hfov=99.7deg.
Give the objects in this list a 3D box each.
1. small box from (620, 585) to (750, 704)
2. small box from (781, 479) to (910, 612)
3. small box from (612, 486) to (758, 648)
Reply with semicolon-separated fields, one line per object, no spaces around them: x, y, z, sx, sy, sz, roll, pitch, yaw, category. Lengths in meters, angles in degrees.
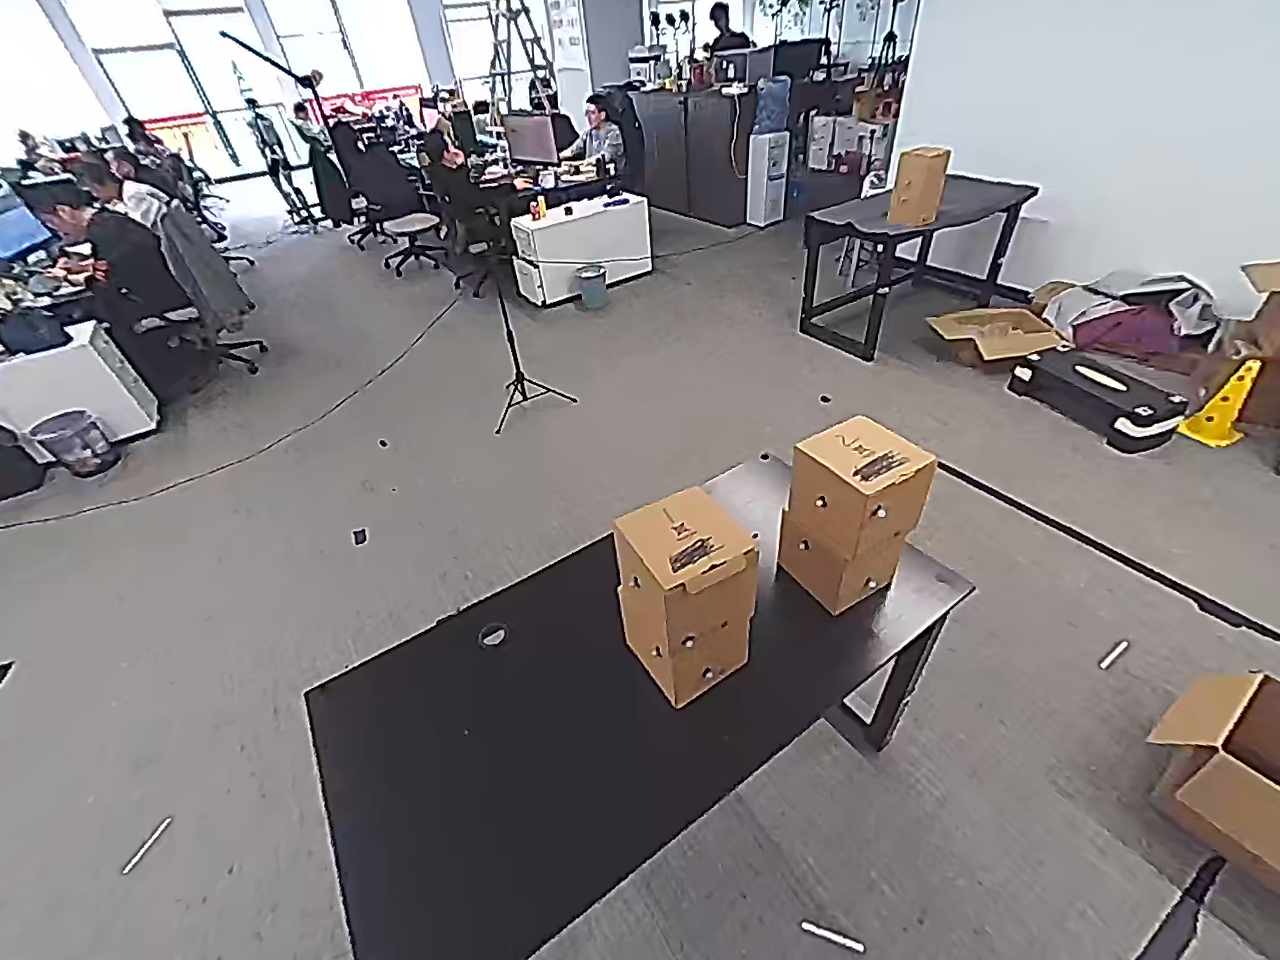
0.080;0.267;0.989;0.168;0.176;0.179;-26;44;-22;small box
0.406;0.132;1.101;0.168;0.176;0.179;-24;43;-18;small box
0.072;0.145;0.878;0.168;0.176;0.179;-22;42;-18;small box
